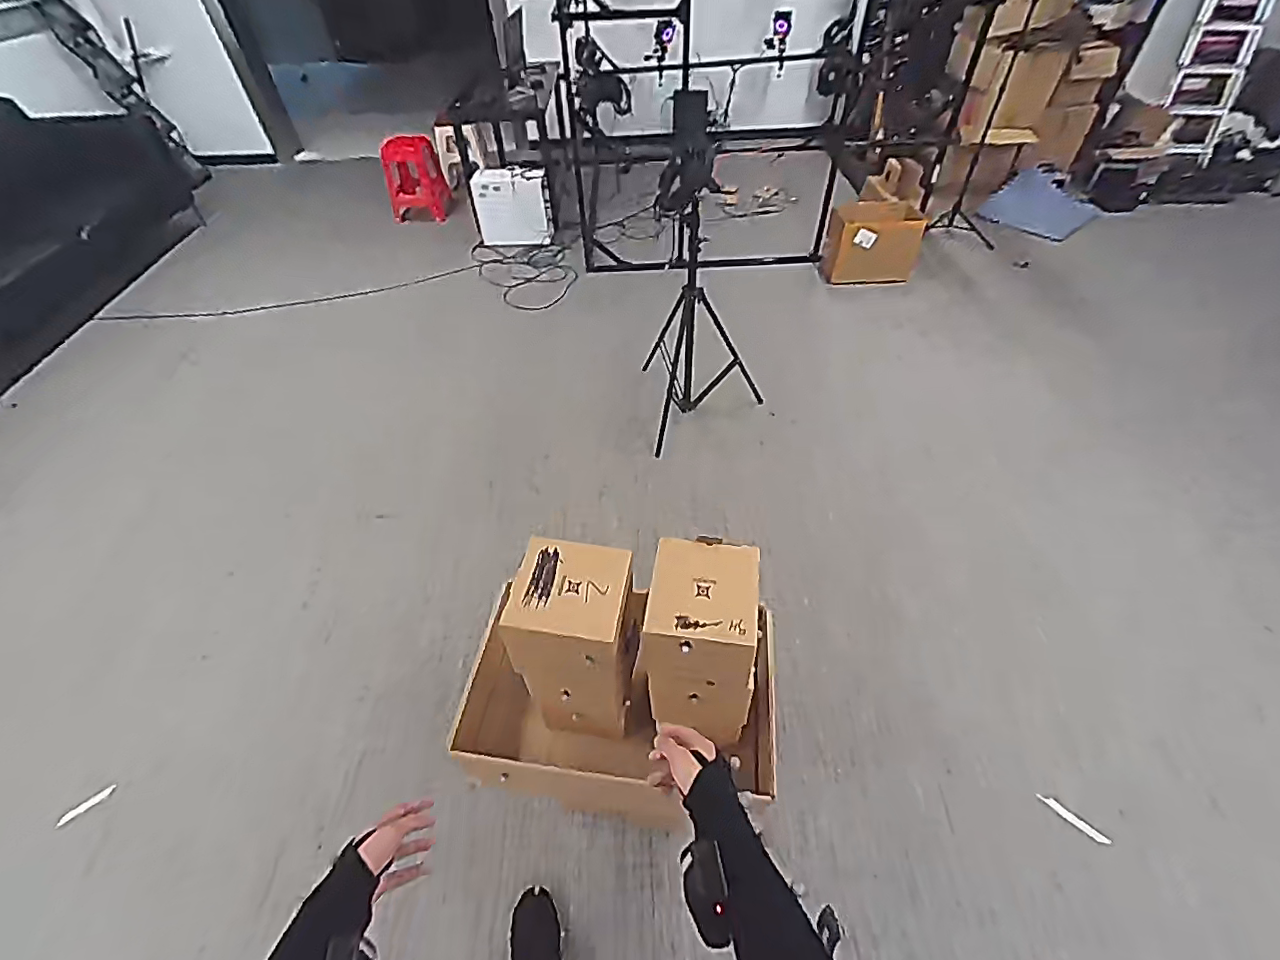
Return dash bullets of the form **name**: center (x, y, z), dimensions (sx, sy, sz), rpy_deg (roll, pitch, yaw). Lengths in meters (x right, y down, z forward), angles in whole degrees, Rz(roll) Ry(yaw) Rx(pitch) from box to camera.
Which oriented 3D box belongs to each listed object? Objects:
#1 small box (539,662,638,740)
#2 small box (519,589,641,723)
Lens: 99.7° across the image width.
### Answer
- **small box**: center (-0.099, 0.432, 1.139), dimensions (0.179, 0.176, 0.168), rpy_deg (6, 48, 6)
- **small box**: center (-0.100, 0.332, 1.008), dimensions (0.179, 0.176, 0.168), rpy_deg (10, 48, 11)
